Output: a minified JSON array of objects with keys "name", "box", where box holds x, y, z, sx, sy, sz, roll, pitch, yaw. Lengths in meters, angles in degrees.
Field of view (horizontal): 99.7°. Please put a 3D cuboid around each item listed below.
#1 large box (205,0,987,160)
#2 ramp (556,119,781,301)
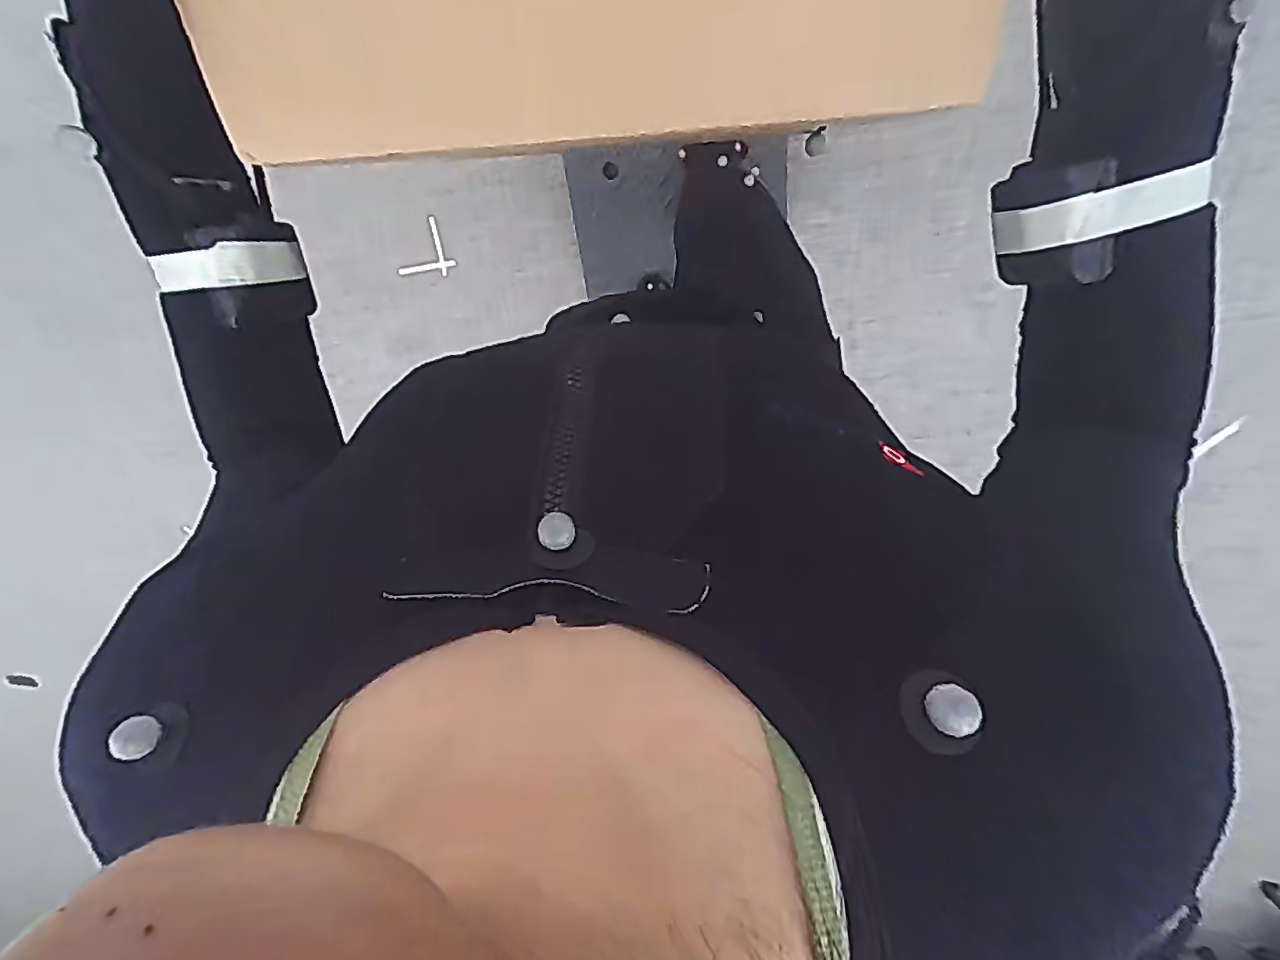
[{"name":"large box","box":[-0.026,-0.405,0.349,0.408,0.320,0.320,-2,120,4]},{"name":"ramp","box":[0.038,-0.891,1.082,0.509,0.206,0.991,-7,113,6]}]
